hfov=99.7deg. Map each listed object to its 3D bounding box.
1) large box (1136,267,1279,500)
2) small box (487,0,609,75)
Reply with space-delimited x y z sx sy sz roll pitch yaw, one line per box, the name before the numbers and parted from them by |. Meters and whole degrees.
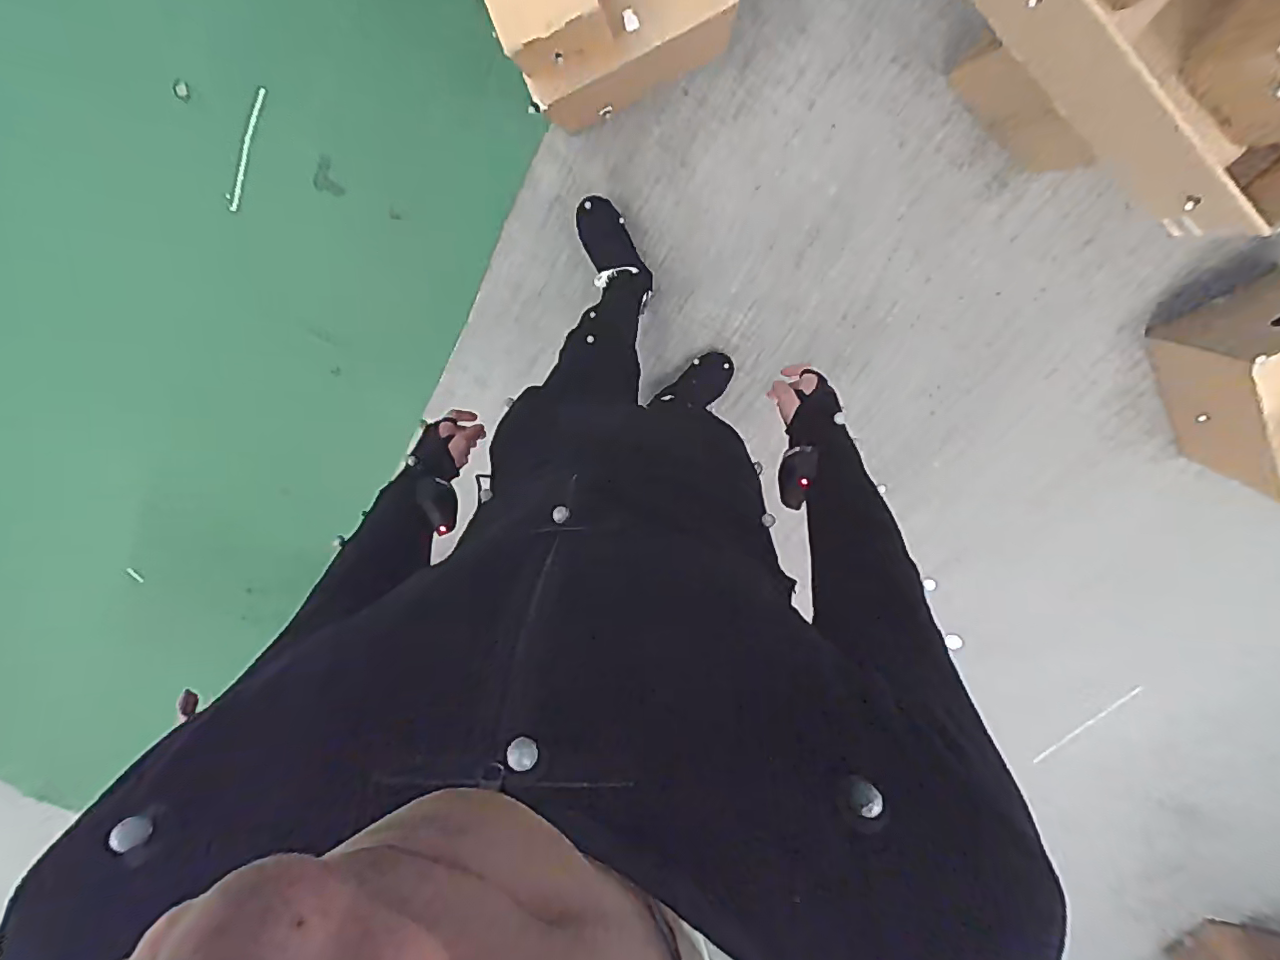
large box | 1.506 -0.234 1.283 0.320 0.320 0.408 -31 108 17
small box | -0.159 -0.802 0.873 0.168 0.176 0.179 -18 114 11
